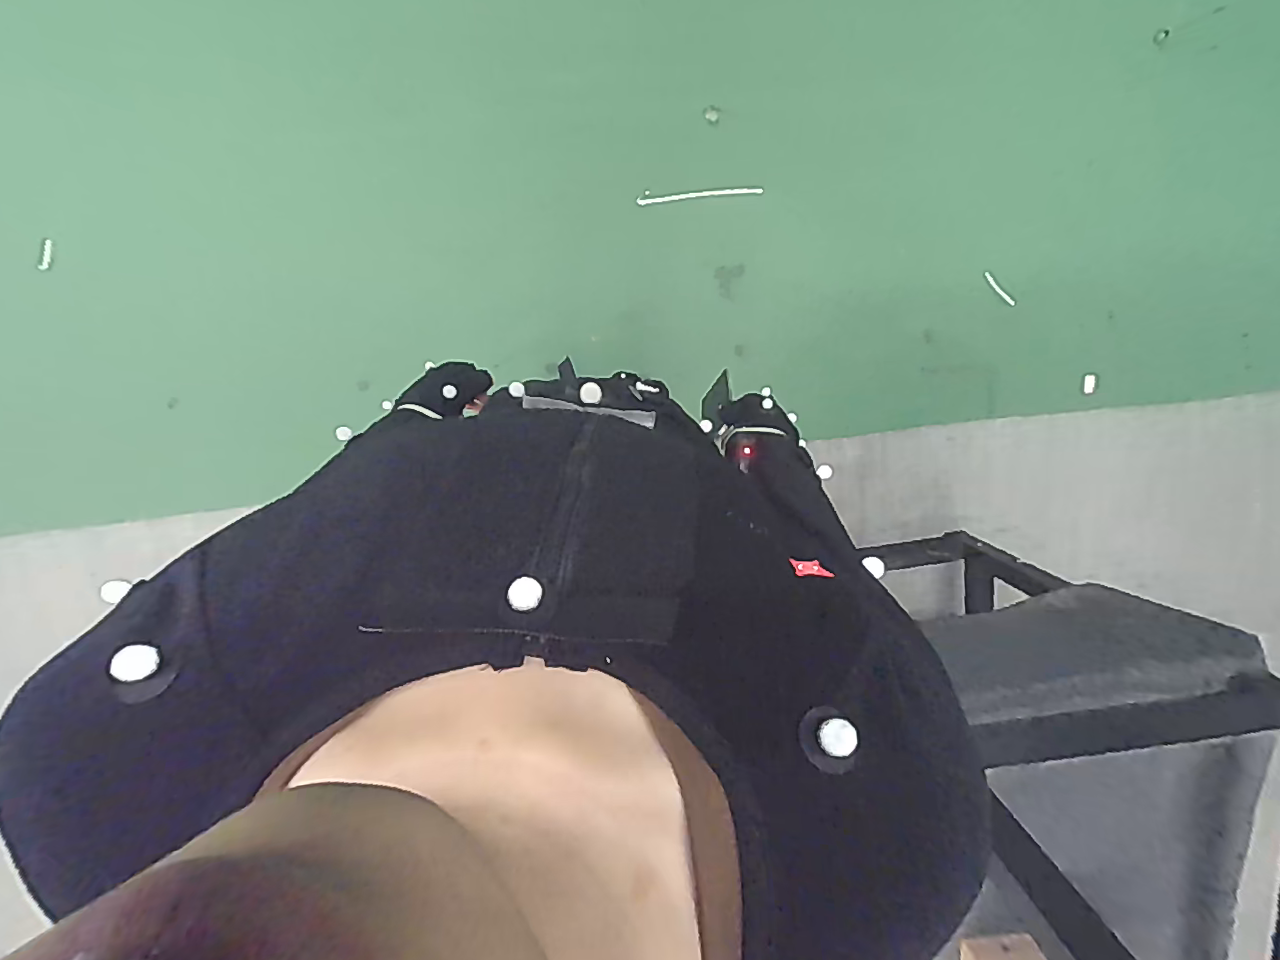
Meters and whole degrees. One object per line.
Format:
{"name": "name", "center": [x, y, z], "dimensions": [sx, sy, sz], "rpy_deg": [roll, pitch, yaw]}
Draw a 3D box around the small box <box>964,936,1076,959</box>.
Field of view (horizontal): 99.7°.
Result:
{"name": "small box", "center": [0.642, 0.873, 0.862], "dimensions": [0.168, 0.176, 0.179], "rpy_deg": [-5, 101, -1]}
